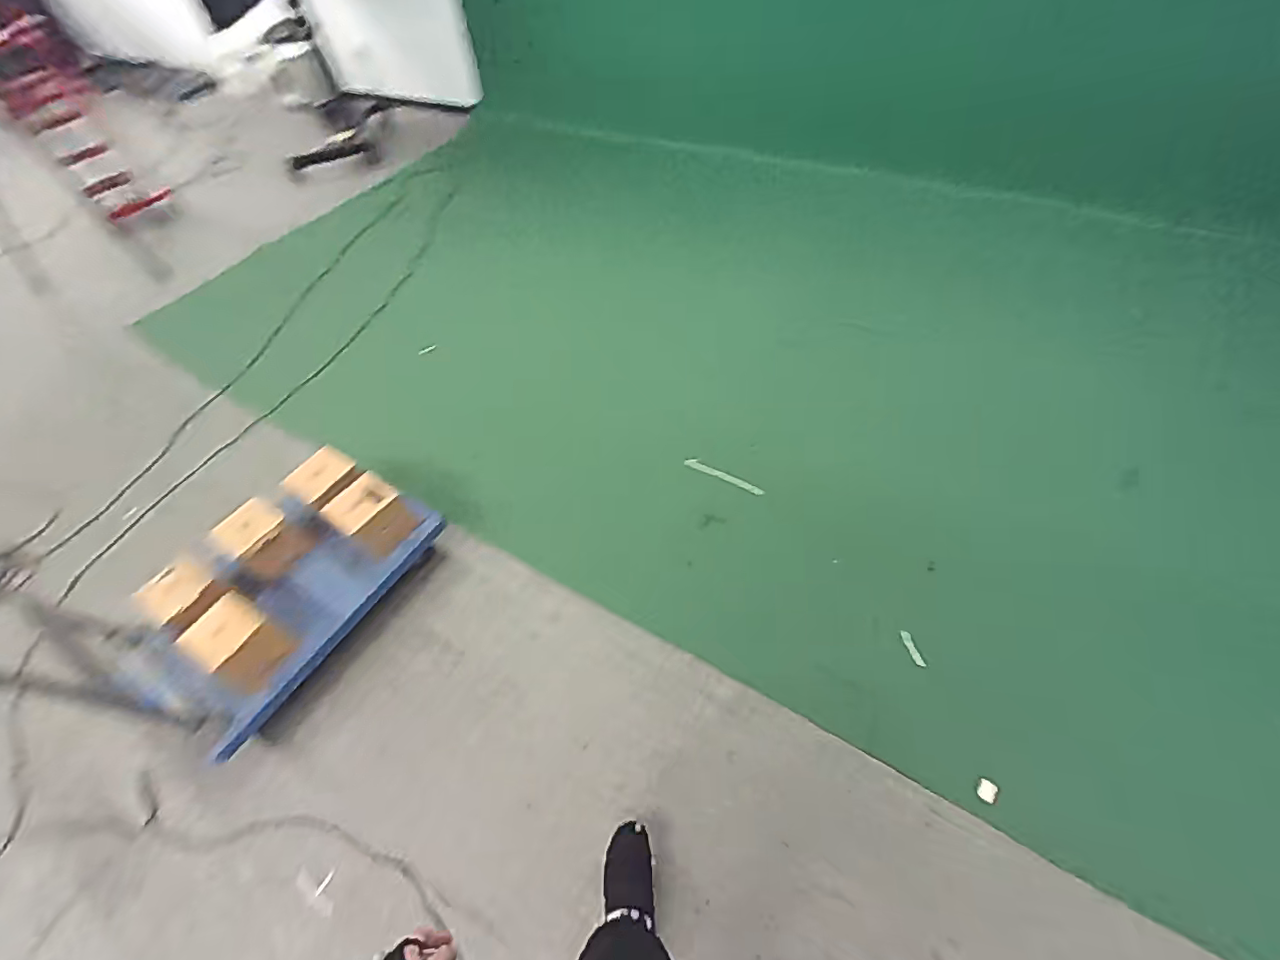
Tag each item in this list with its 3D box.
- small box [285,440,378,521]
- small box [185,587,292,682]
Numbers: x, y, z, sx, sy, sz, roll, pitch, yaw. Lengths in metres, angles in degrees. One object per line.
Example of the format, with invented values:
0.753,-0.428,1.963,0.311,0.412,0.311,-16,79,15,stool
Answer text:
-1.021,0.006,1.808,0.168,0.176,0.179,27,60,23,small box
-1.113,0.435,1.504,0.179,0.176,0.168,-25,56,-12,small box
